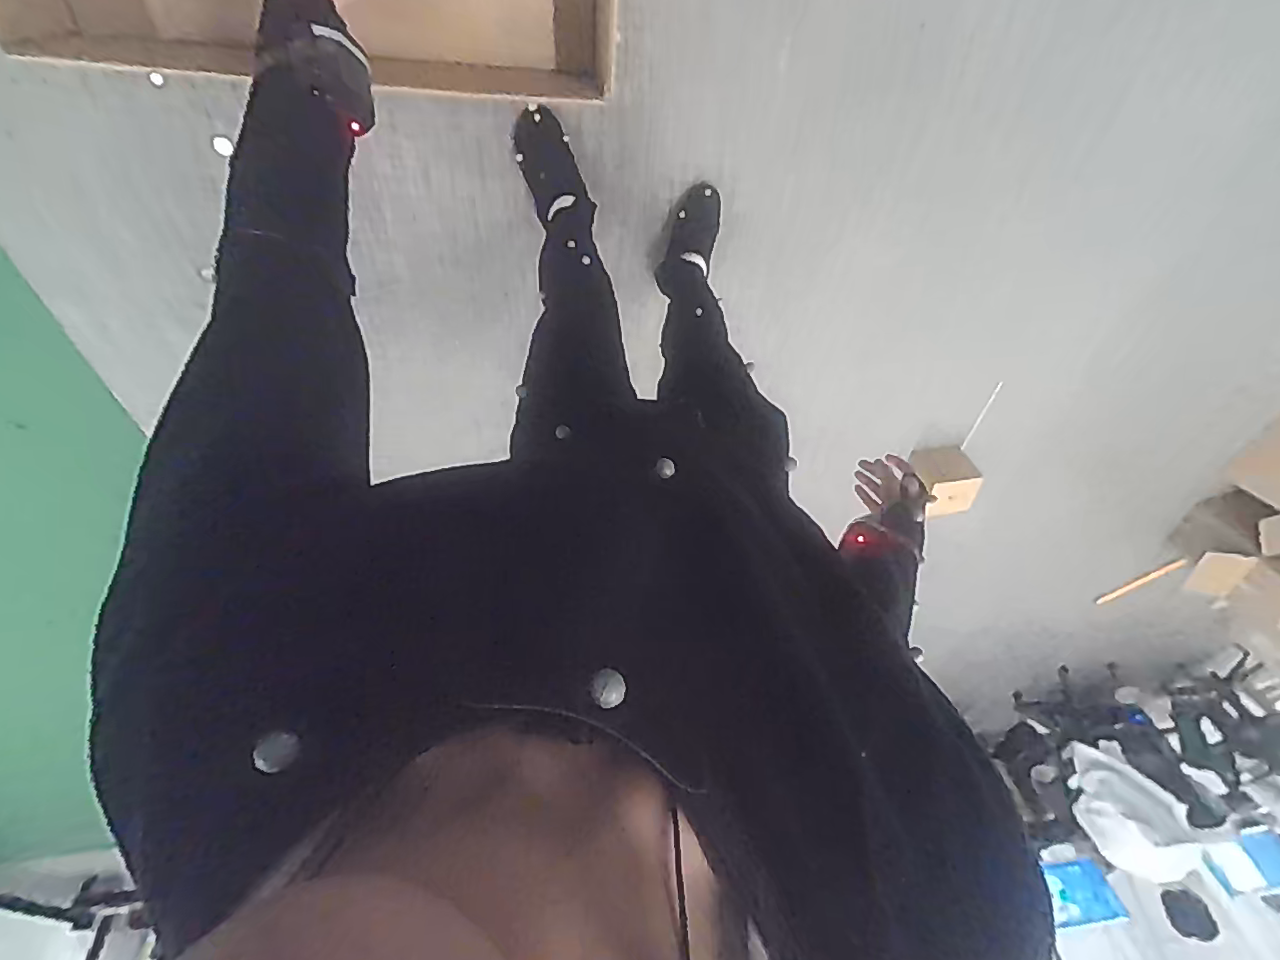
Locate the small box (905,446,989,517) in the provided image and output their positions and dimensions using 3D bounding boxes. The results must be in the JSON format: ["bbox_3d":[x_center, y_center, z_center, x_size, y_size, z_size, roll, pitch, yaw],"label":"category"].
[{"bbox_3d":[1.058,0.003,1.881,0.179,0.176,0.168,-8,134,-2],"label":"small box"}]
